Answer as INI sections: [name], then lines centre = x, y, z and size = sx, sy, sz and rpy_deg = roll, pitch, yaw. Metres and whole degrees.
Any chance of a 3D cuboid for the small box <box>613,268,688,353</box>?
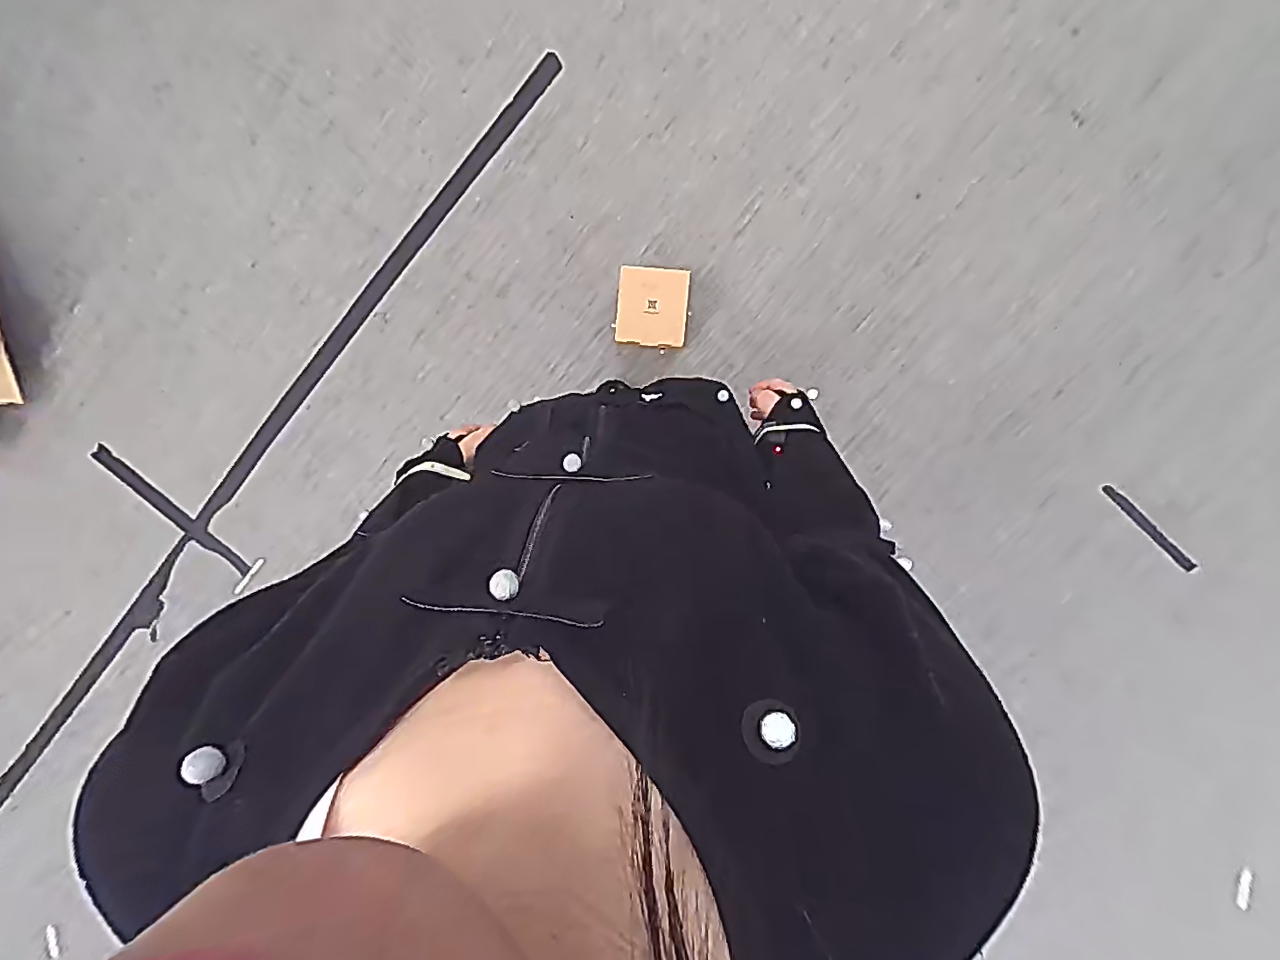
[small box]
centre = 0.023, -0.414, 1.347
size = 0.168, 0.176, 0.179
rpy_deg = 4, 99, -1
